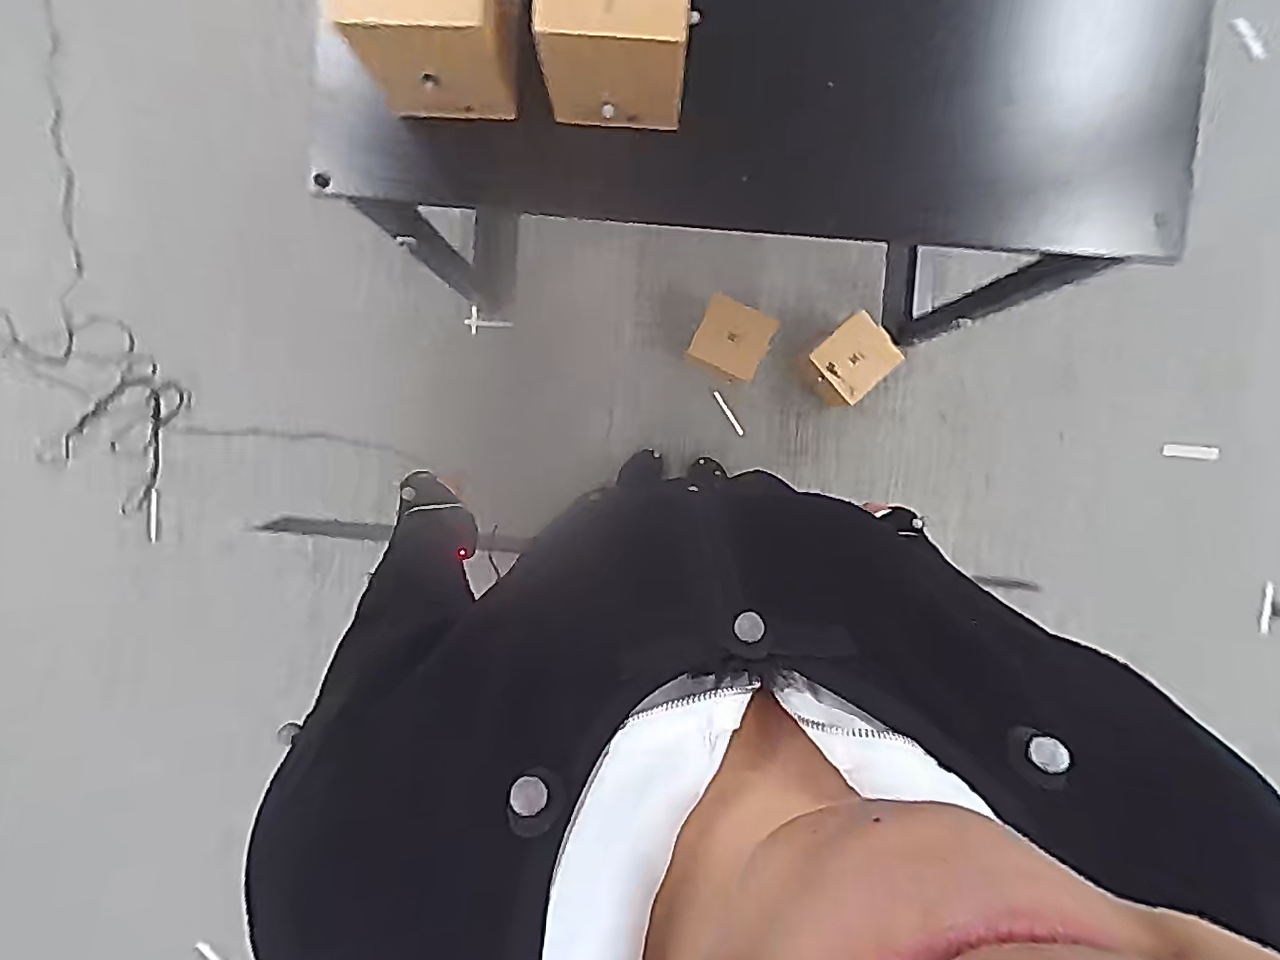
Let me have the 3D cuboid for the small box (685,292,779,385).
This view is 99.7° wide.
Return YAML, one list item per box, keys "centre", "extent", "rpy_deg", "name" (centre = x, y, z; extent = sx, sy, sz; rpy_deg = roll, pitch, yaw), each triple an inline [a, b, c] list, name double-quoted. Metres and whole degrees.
- centre: [0.229, -0.355, 1.398]
  extent: [0.179, 0.176, 0.168]
  rpy_deg: [26, 93, 0]
  name: "small box"

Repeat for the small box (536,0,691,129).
- centre: [-0.024, -0.568, 0.654]
  extent: [0.168, 0.176, 0.179]
  rpy_deg: [4, 94, 0]
  name: "small box"

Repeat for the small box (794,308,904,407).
- centre: [0.528, -0.308, 1.395]
  extent: [0.179, 0.176, 0.168]
  rpy_deg: [-42, 92, 3]
  name: "small box"
